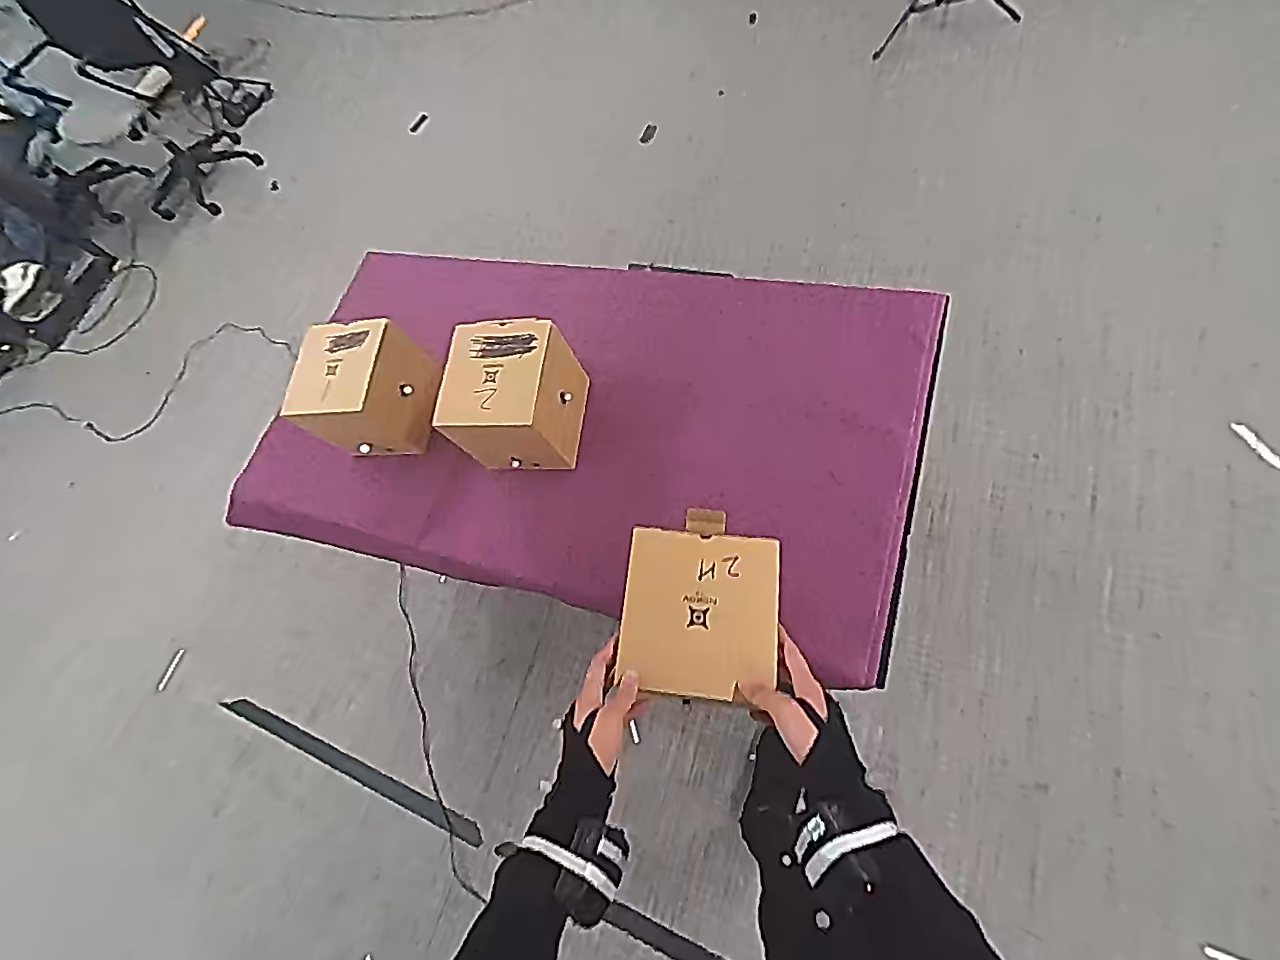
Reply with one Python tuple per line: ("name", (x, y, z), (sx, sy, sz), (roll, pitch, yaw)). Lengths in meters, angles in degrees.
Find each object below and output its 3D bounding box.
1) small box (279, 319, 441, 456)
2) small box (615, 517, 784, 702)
("small box", (-0.480, -0.156, 0.955), (0.168, 0.176, 0.179), (-1, 69, 16))
("small box", (0.071, 0.160, 0.641), (0.168, 0.176, 0.179), (6, 66, 6))
